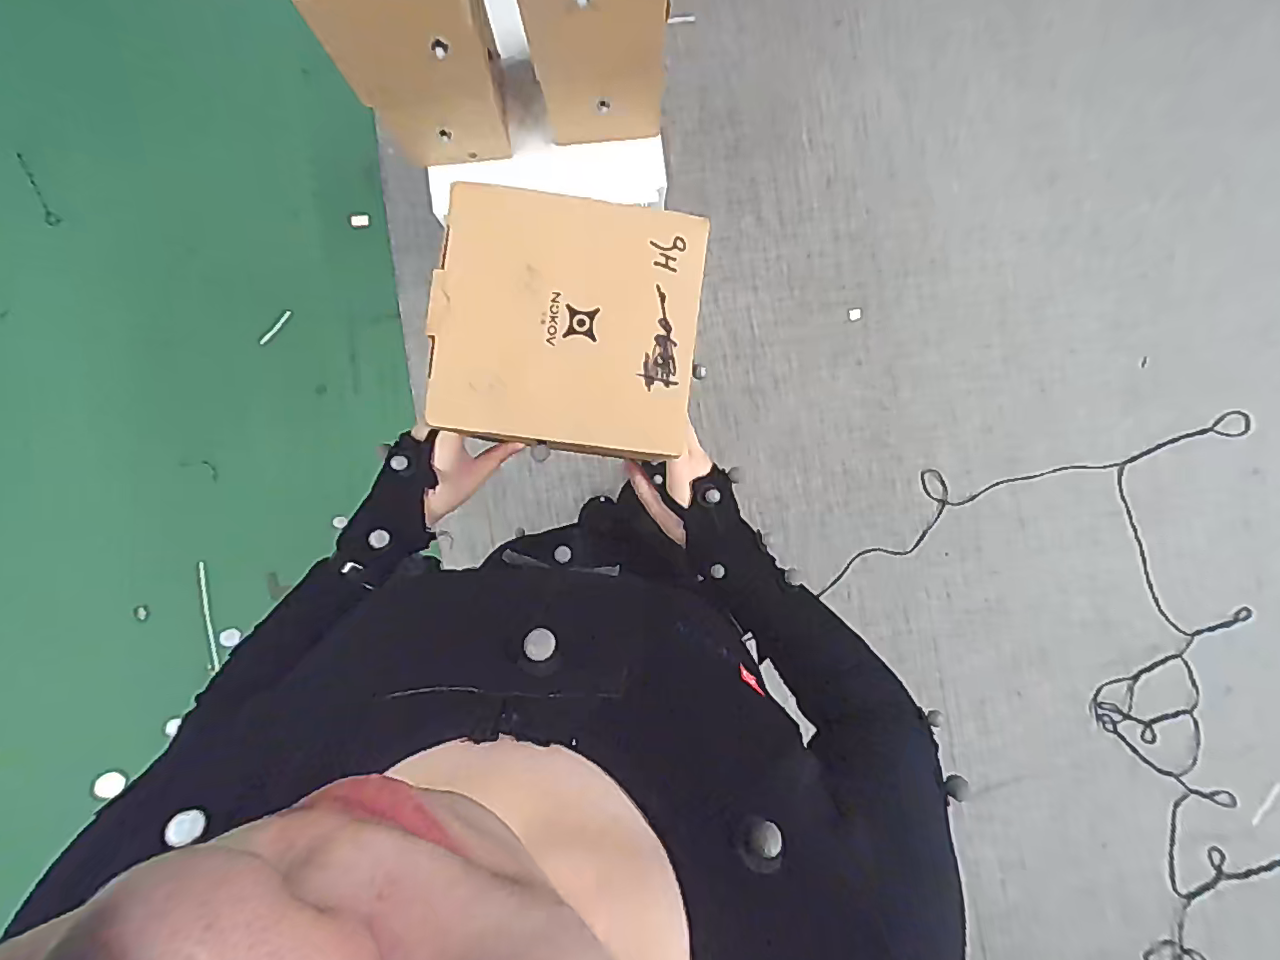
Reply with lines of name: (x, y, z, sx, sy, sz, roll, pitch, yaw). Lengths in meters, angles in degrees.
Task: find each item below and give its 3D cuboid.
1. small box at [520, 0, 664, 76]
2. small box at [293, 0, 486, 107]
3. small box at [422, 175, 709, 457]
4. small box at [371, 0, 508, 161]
small box: (-0.062, -0.633, 0.658, 0.179, 0.176, 0.168, -5, 90, -1)
small box: (-0.294, -0.592, 0.654, 0.179, 0.176, 0.168, -8, 89, -2)
small box: (-0.054, -0.111, 0.443, 0.179, 0.176, 0.168, 7, 90, -4)
small box: (-0.302, -0.608, 0.815, 0.168, 0.176, 0.179, -7, 91, -3)
